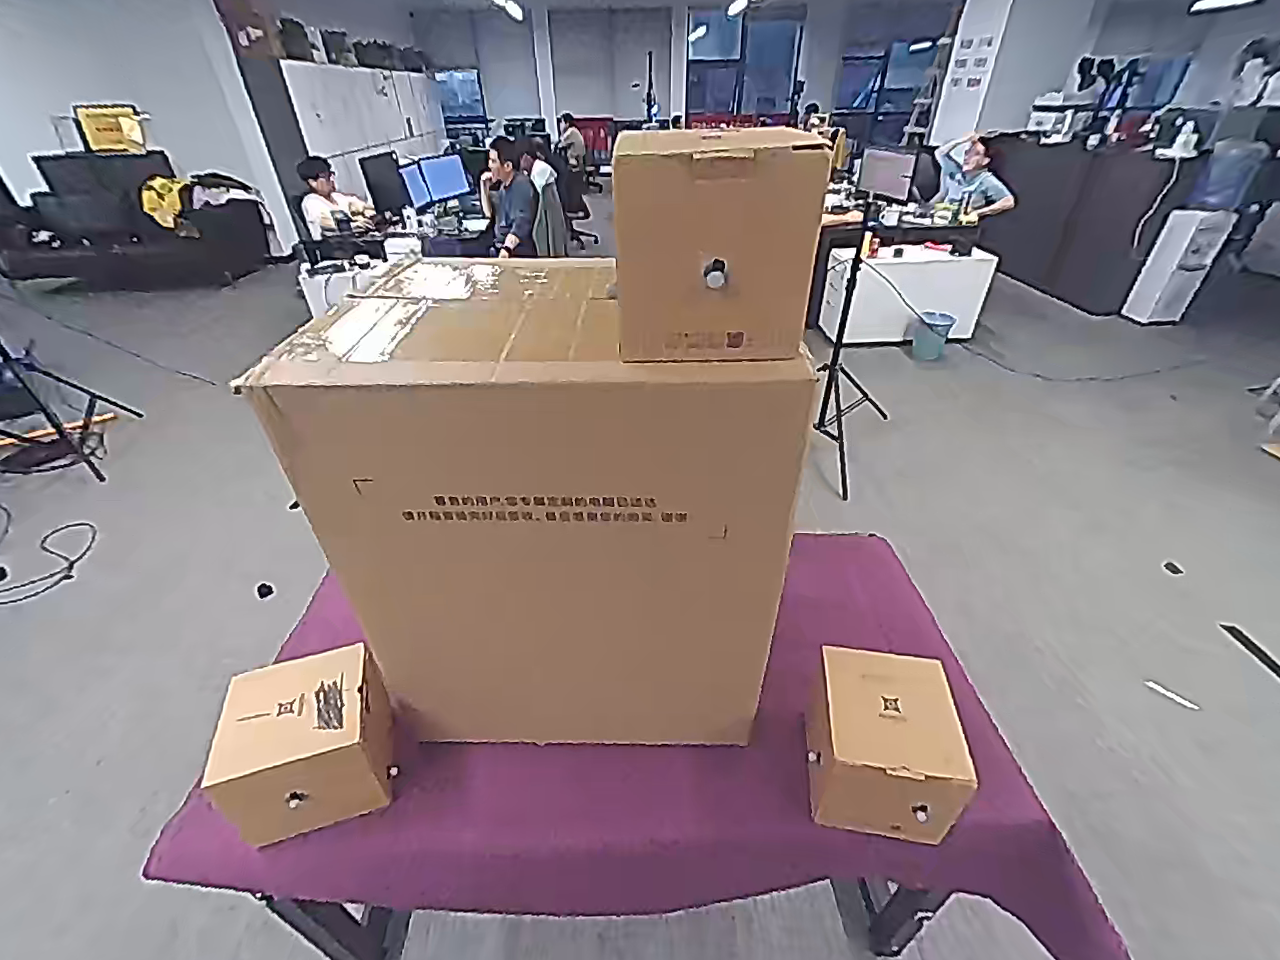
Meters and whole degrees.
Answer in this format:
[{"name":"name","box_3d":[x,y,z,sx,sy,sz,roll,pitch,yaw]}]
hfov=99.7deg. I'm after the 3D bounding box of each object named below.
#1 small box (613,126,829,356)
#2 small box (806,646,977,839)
[{"name":"small box","box_3d":[0.065,-0.227,0.517,0.168,0.176,0.179,-1,37,1]},{"name":"small box","box_3d":[0.333,0.365,0.758,0.168,0.176,0.179,5,34,8]}]
